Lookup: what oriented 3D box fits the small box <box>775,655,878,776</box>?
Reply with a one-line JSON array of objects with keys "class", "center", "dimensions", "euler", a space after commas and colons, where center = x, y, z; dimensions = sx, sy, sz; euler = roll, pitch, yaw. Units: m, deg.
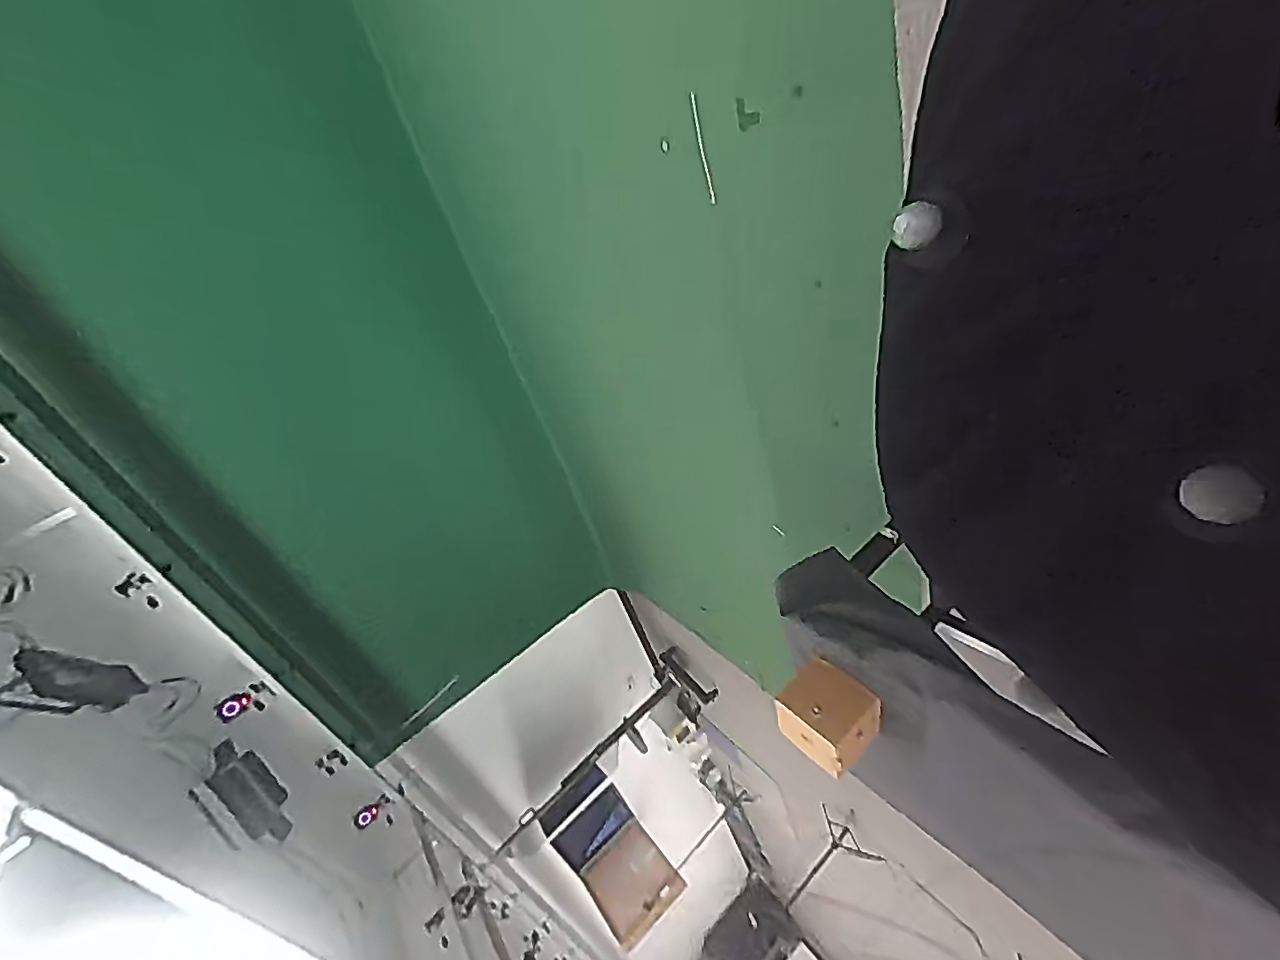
[{"class": "small box", "center": [0.455, 0.564, 1.313], "dimensions": [0.179, 0.176, 0.168], "euler": [31, 147, 46]}]
